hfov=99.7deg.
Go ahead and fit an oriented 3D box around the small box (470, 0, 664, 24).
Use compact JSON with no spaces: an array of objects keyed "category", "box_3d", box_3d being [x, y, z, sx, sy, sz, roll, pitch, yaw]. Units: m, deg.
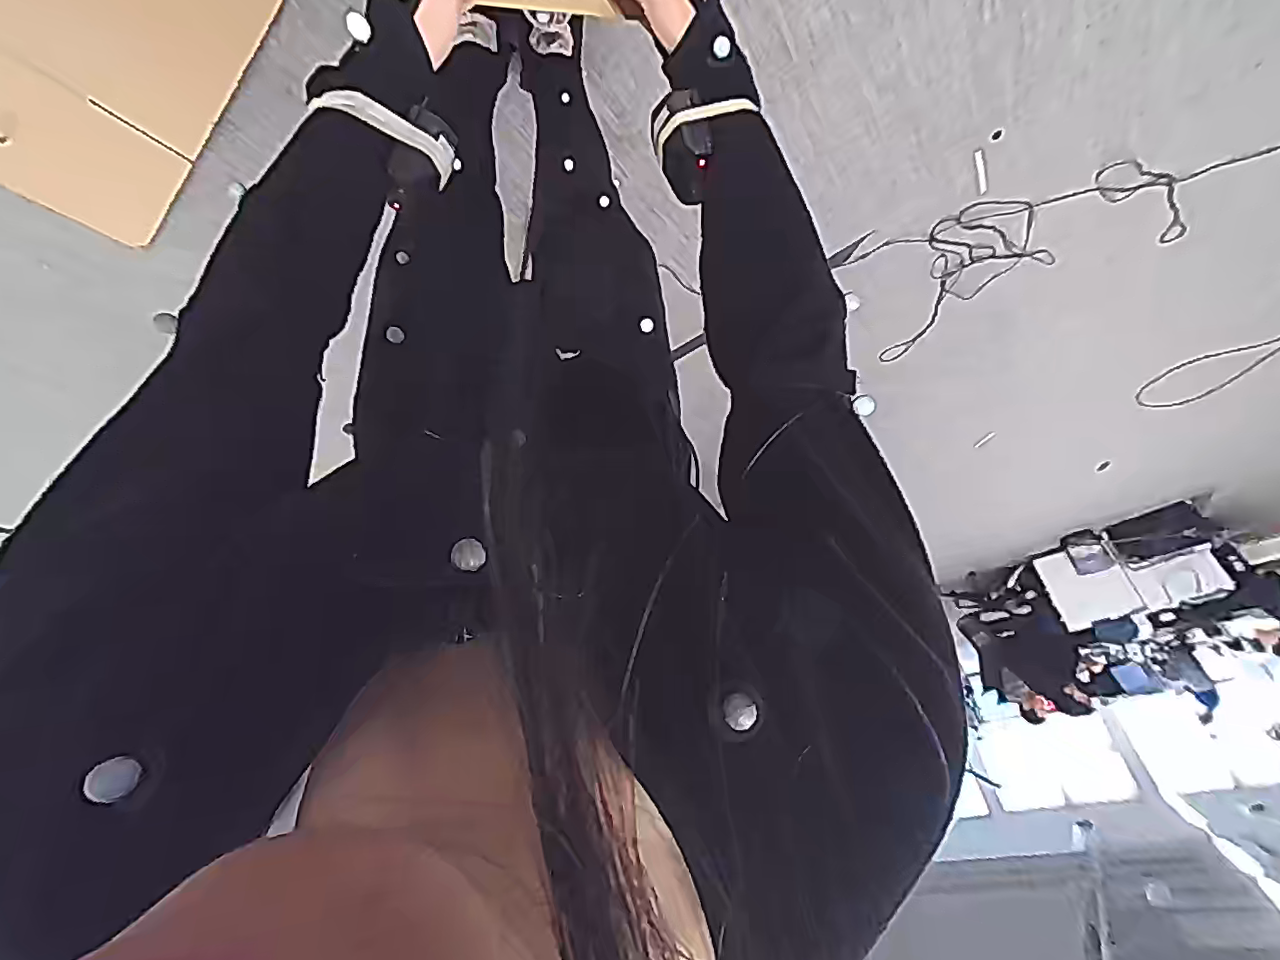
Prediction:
[{"category":"small box","box_3d":[-0.065,-0.500,0.420,0.168,0.176,0.179,-4,147,-12]}]
